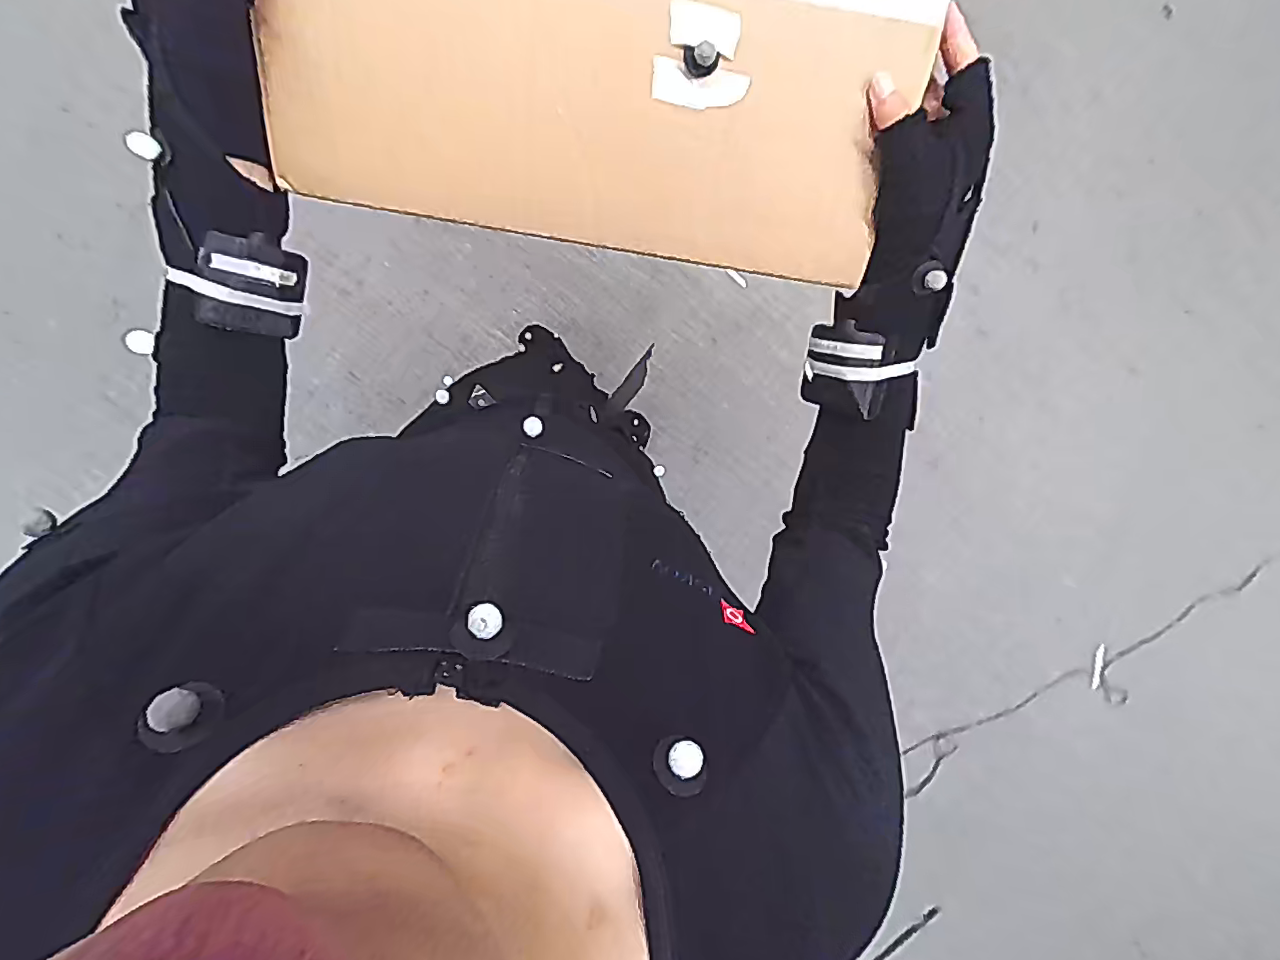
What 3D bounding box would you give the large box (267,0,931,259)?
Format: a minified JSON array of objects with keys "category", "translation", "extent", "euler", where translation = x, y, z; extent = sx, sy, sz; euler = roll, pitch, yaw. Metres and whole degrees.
[{"category":"large box","translation":[-0.021,-0.379,0.446],"extent":[0.408,0.320,0.320],"euler":[7,116,-3]}]
